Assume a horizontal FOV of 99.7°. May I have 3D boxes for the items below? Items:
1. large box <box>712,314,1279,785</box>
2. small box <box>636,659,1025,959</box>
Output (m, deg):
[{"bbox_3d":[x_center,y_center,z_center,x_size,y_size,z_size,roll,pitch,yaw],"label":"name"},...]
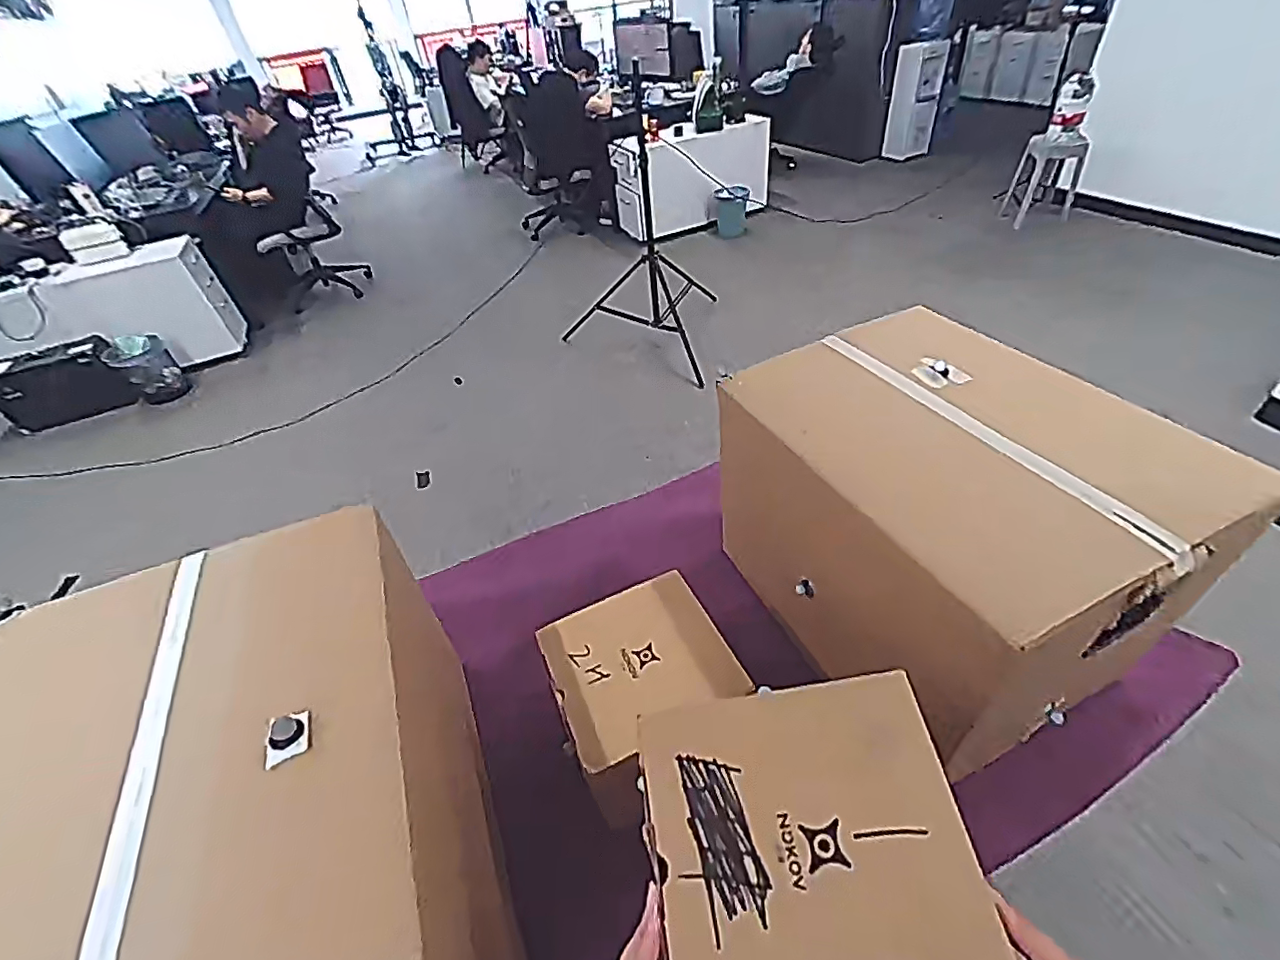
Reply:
[{"bbox_3d":[0.323,0.057,0.633,0.320,0.320,0.408,-21,42,-14],"label":"large box"},{"bbox_3d":[0.099,0.236,0.364,0.179,0.176,0.168,-8,57,-1],"label":"small box"}]
